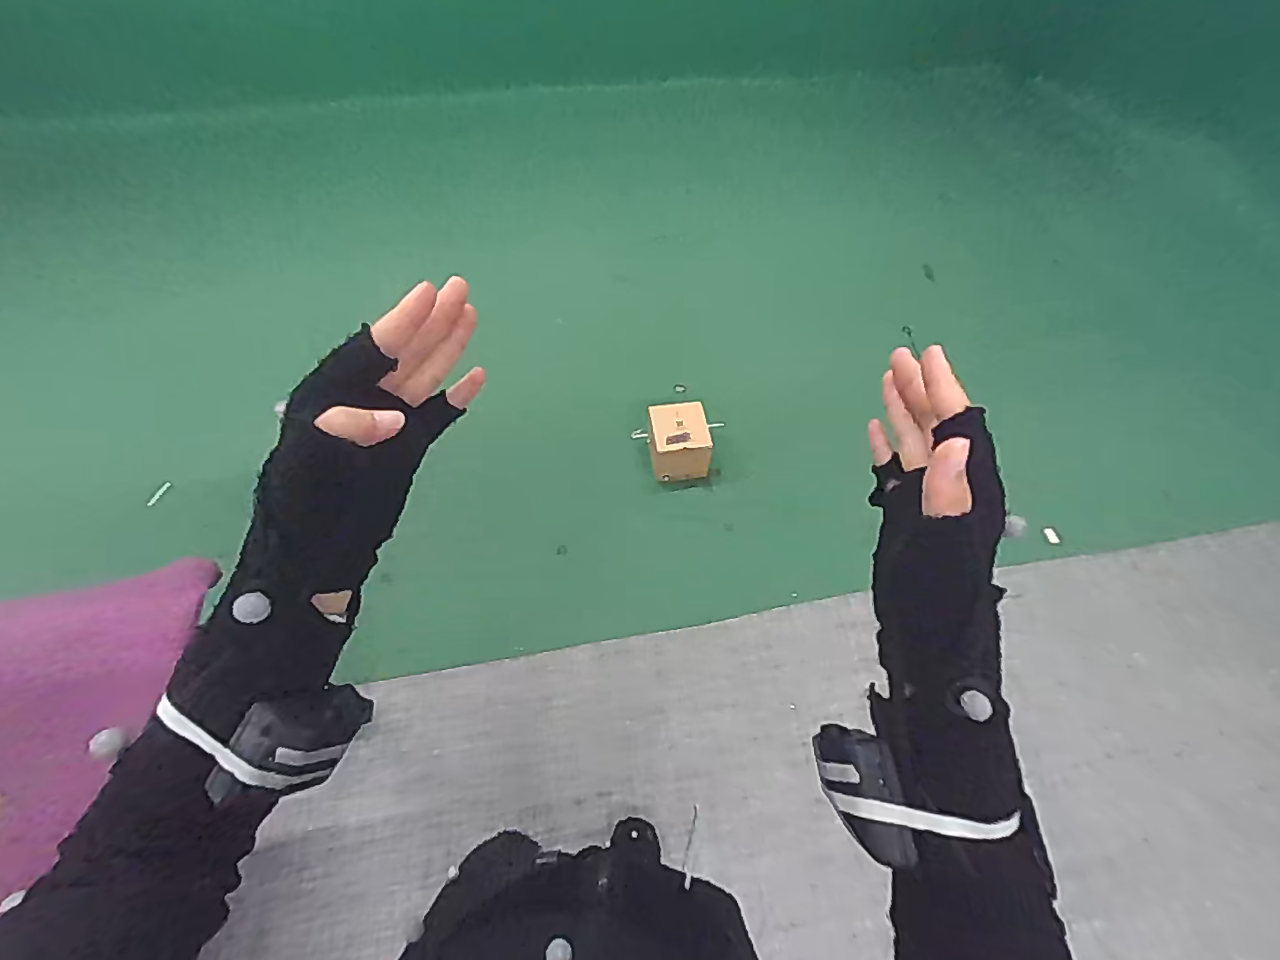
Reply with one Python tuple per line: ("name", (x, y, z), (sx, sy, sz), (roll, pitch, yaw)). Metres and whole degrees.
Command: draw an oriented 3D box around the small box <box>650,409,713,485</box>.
("small box", (0.124, -0.096, 1.680), (0.168, 0.176, 0.179), (-6, 57, -5))
